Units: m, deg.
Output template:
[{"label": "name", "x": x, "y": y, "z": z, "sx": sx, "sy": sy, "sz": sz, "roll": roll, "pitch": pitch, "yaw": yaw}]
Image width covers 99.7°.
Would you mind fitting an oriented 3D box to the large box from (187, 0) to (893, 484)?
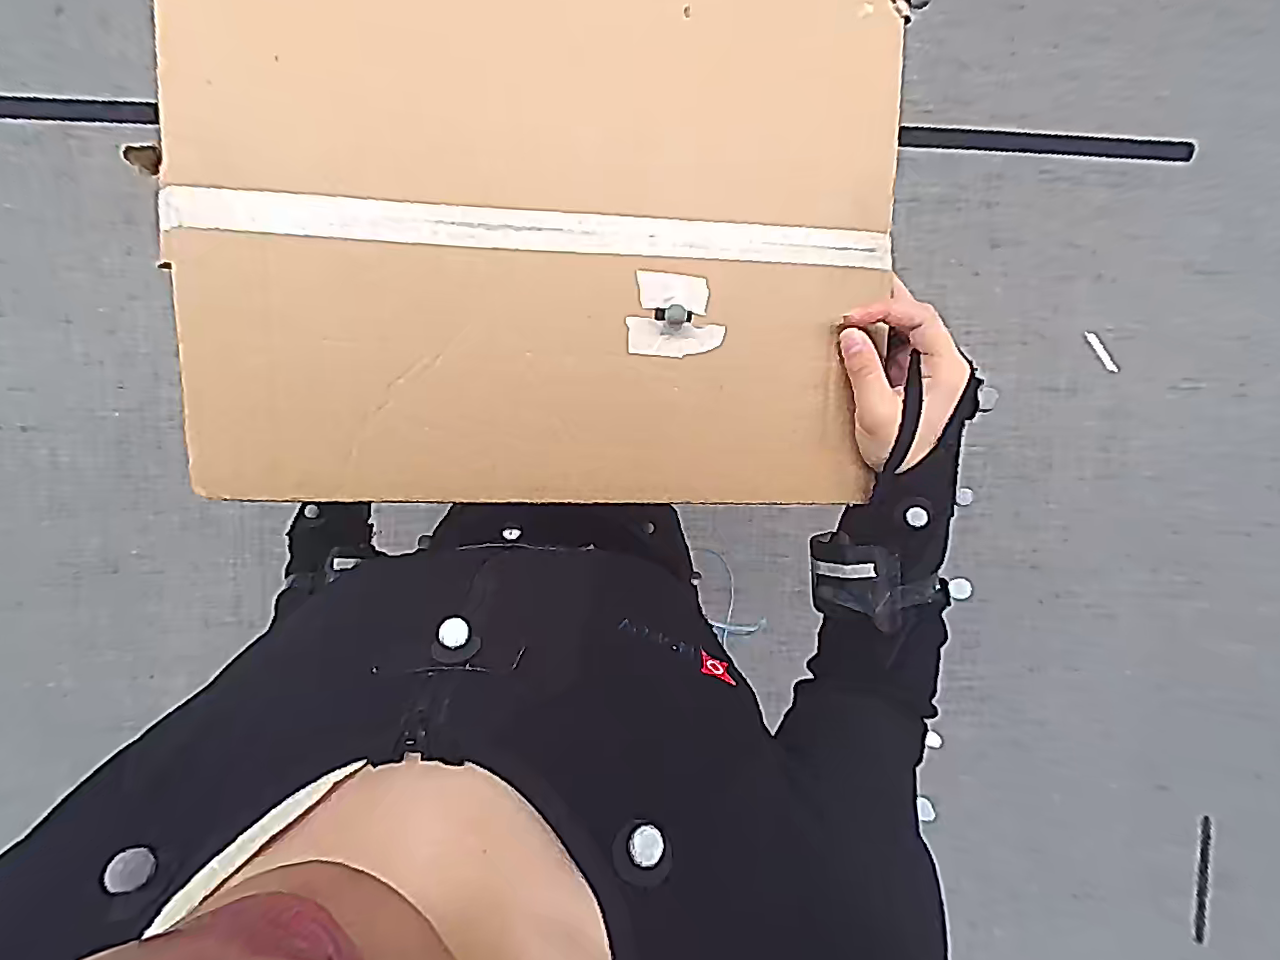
[{"label": "large box", "x": -0.064, "y": -0.169, "z": 0.465, "sx": 0.408, "sy": 0.320, "sz": 0.320, "roll": 0, "pitch": 97, "yaw": -9}]
